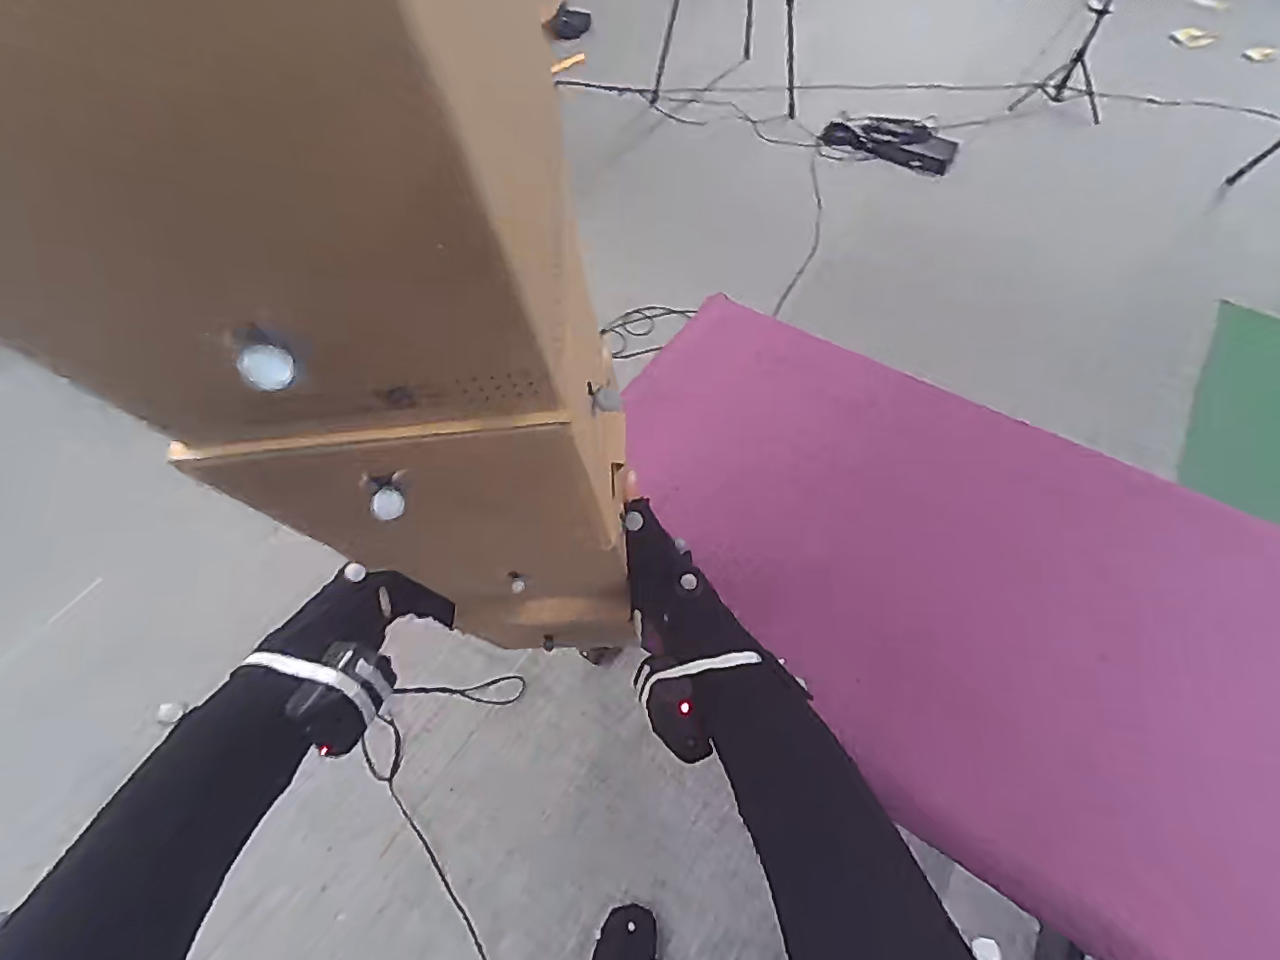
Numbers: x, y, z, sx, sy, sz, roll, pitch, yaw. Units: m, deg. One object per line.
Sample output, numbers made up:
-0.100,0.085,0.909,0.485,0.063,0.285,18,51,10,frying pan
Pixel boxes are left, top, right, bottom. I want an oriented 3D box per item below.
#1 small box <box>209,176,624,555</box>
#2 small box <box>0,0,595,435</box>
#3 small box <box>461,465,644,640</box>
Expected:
-0.101,-0.056,0.338,0.179,0.176,0.168,-4,66,3,small box
-0.111,-0.134,0.193,0.168,0.176,0.179,-3,66,4,small box
-0.085,0.091,0.630,0.179,0.176,0.168,-1,66,3,small box
